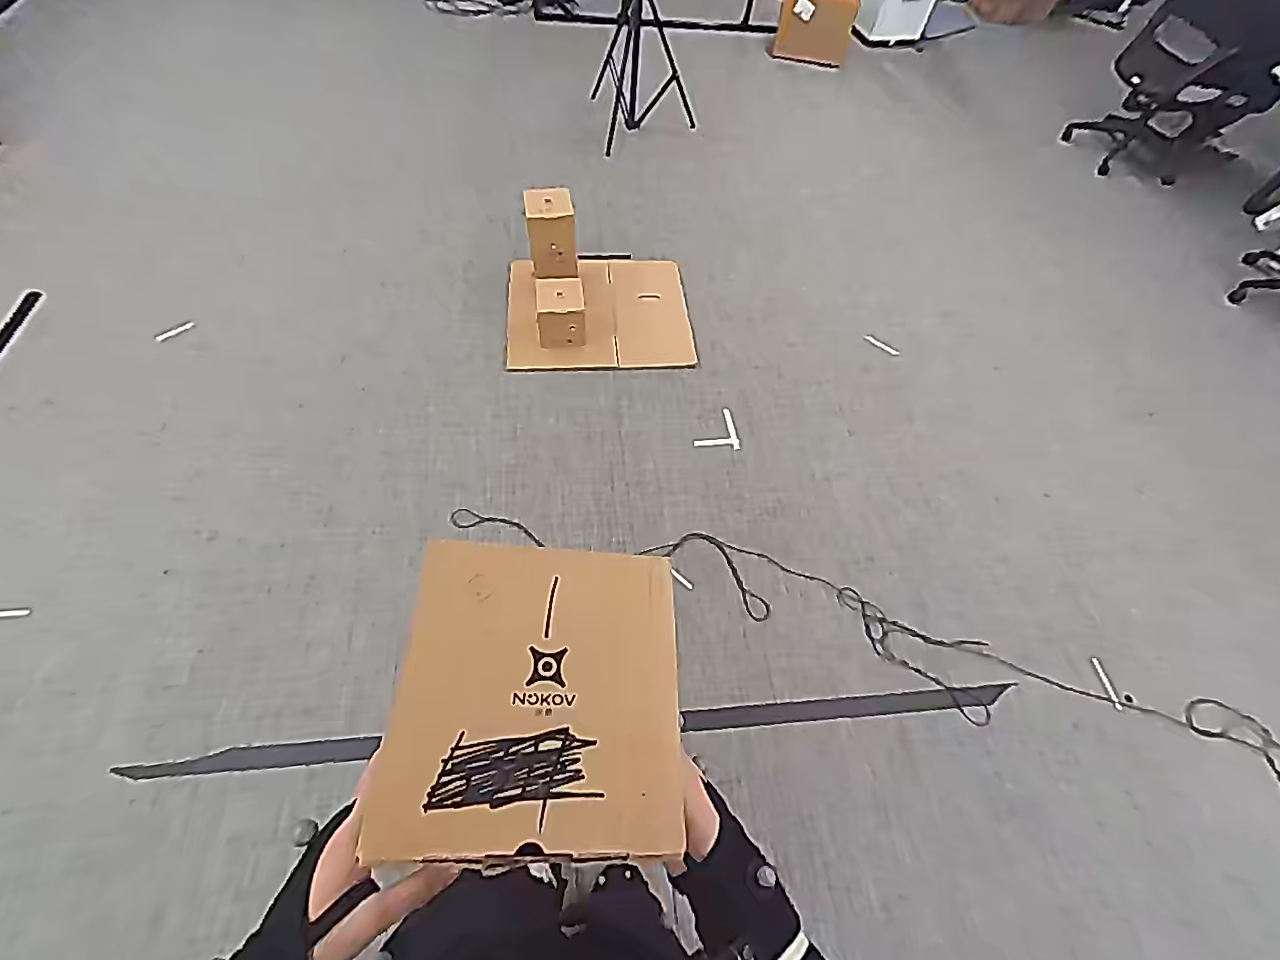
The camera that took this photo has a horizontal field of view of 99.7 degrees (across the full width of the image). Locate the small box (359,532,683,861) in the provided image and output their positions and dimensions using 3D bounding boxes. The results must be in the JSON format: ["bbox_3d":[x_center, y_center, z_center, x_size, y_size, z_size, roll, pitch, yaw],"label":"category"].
[{"bbox_3d":[-0.072,0.156,0.382,0.168,0.176,0.179,5,56,-10],"label":"small box"}]

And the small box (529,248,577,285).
[{"bbox_3d":[-0.337,-0.841,2.111,0.168,0.176,0.179,-9,60,-11],"label":"small box"}]

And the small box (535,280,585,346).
[{"bbox_3d":[-0.289,-0.602,1.967,0.168,0.176,0.179,-5,58,-8],"label":"small box"}]

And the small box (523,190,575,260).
[{"bbox_3d":[-0.330,-0.929,1.972,0.168,0.176,0.179,-8,59,-9],"label":"small box"}]
